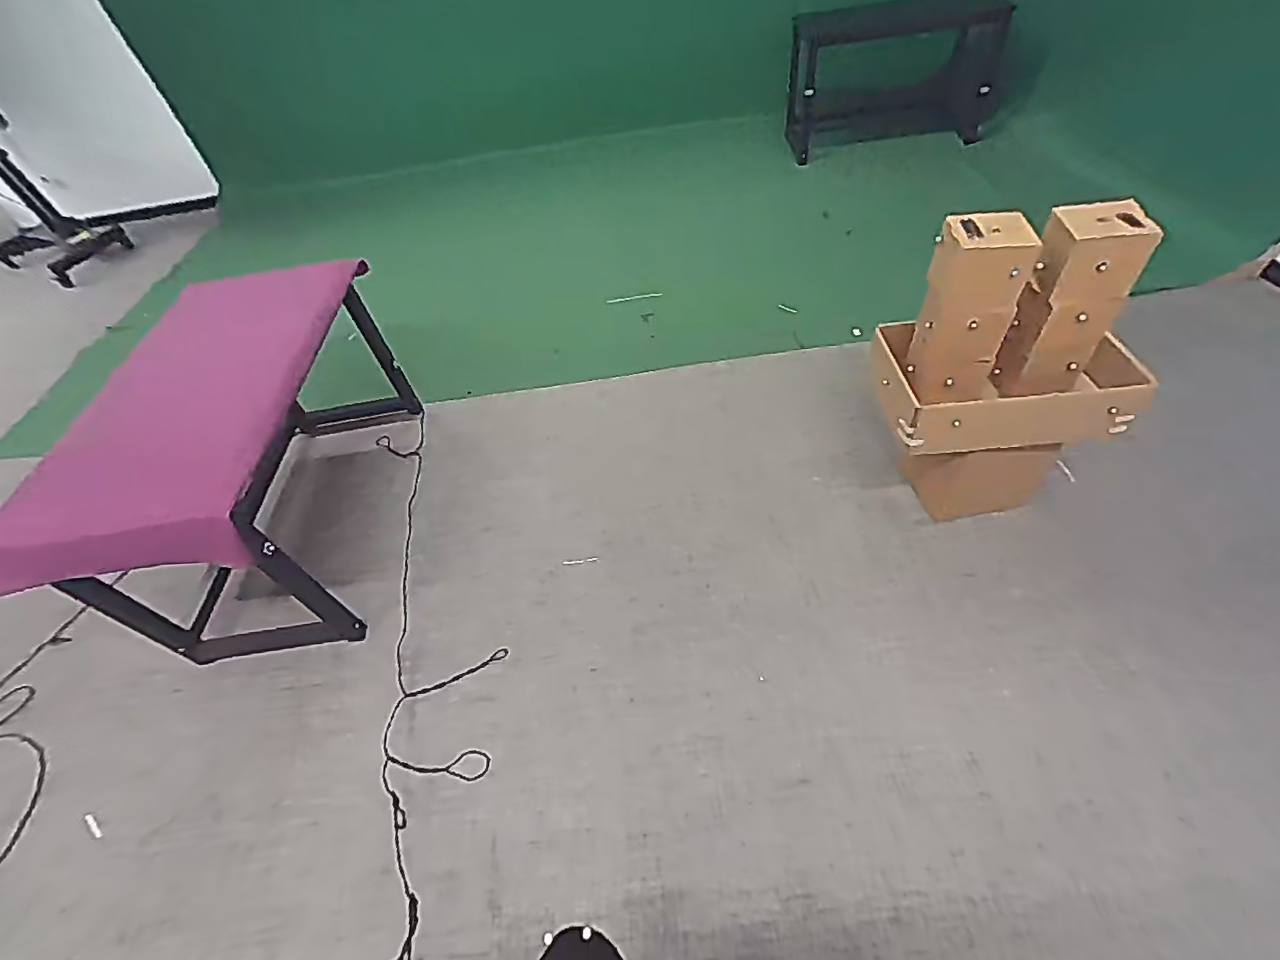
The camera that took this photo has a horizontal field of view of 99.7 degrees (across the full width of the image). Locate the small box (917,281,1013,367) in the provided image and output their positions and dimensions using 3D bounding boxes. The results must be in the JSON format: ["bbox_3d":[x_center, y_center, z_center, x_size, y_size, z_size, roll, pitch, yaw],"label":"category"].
[{"bbox_3d":[0.883,-0.428,1.491,0.179,0.176,0.168,3,50,10],"label":"small box"}]

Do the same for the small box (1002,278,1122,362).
[{"bbox_3d":[1.130,-0.442,1.468,0.179,0.176,0.168,-8,49,5],"label":"small box"}]

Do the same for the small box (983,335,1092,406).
[{"bbox_3d":[1.155,-0.337,1.587,0.179,0.176,0.168,-7,48,5],"label":"small box"}]

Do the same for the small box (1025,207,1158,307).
[{"bbox_3d":[1.110,-0.552,1.347,0.179,0.176,0.168,-1,49,12],"label":"small box"}]
